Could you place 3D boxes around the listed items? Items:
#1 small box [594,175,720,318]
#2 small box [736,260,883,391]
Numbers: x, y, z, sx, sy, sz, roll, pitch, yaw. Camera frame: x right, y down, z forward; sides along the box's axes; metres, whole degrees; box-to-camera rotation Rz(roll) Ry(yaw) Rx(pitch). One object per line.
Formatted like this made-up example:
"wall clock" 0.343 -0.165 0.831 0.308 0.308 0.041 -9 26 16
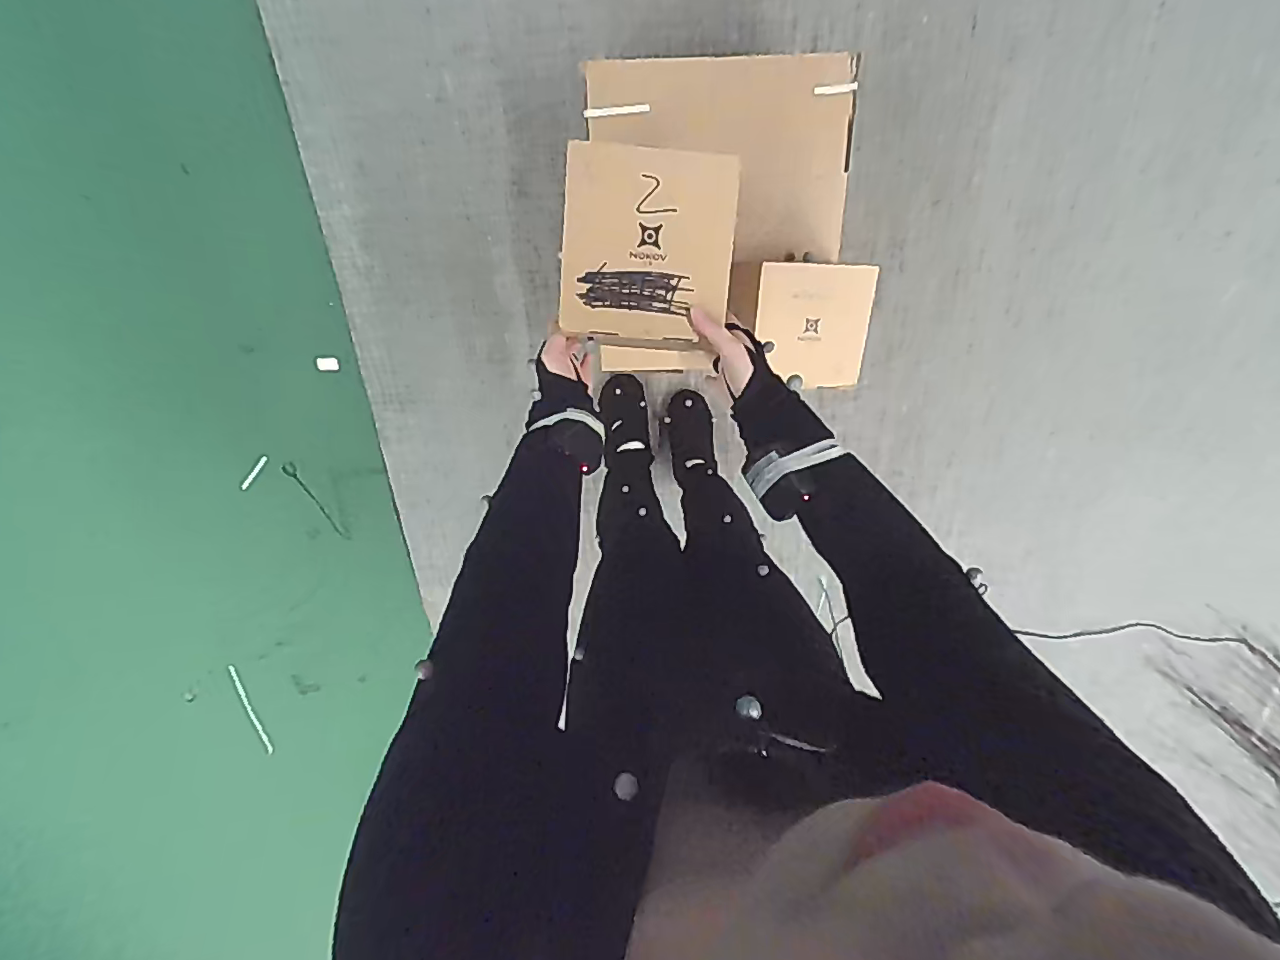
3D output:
"small box" 0.022 -0.340 0.807 0.168 0.176 0.179 2 111 1
"small box" 0.248 -0.245 0.842 0.168 0.176 0.179 2 111 -1
